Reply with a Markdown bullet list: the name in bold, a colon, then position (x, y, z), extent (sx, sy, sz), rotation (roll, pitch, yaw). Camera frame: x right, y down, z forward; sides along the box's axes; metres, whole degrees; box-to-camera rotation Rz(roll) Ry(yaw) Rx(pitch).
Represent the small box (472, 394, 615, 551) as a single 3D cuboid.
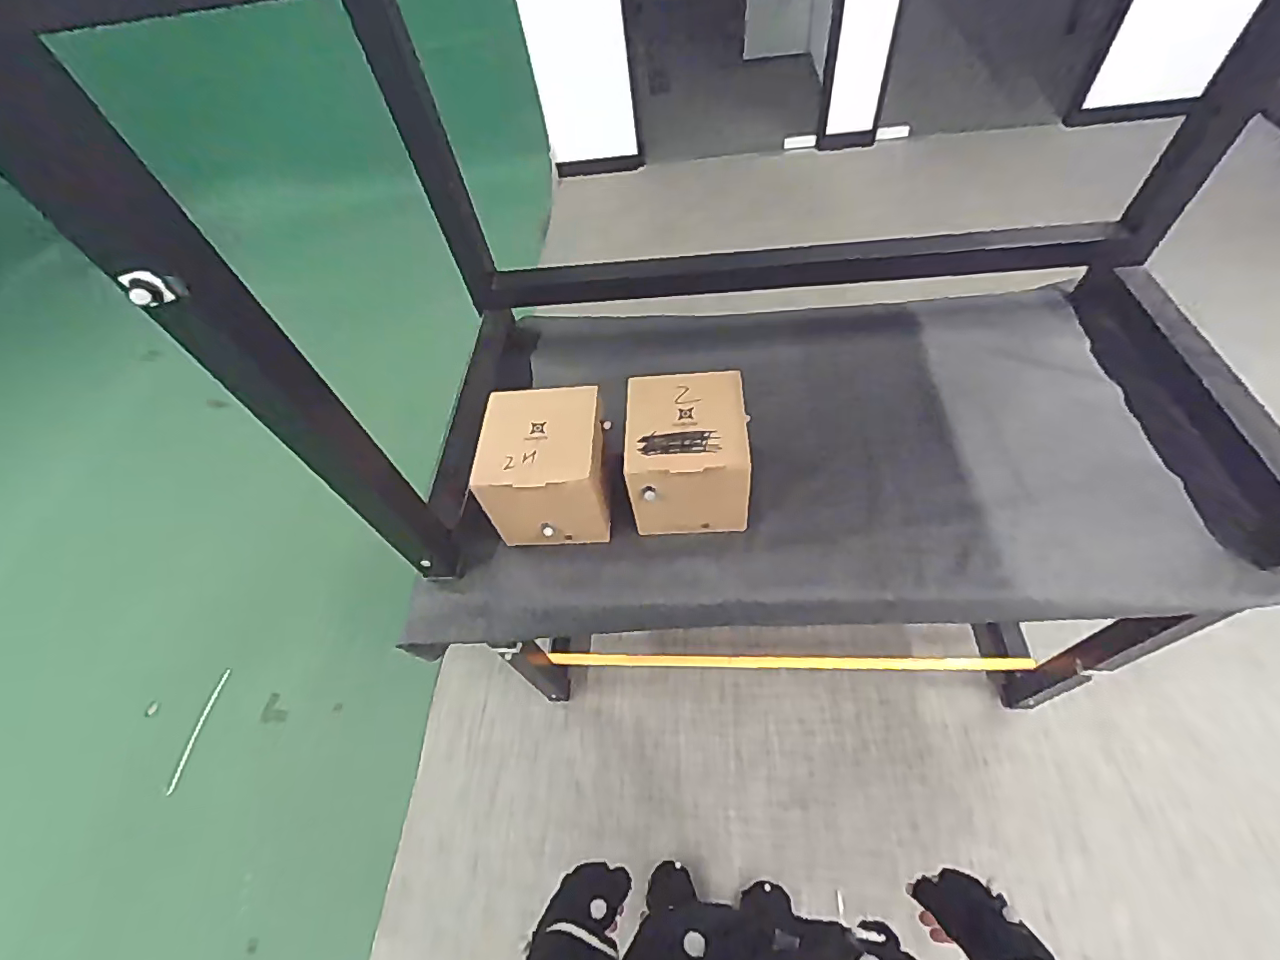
- **small box**: position (-0.133, -0.008, 0.824), extent (0.168, 0.176, 0.179), rotation (-3, 54, 6)
